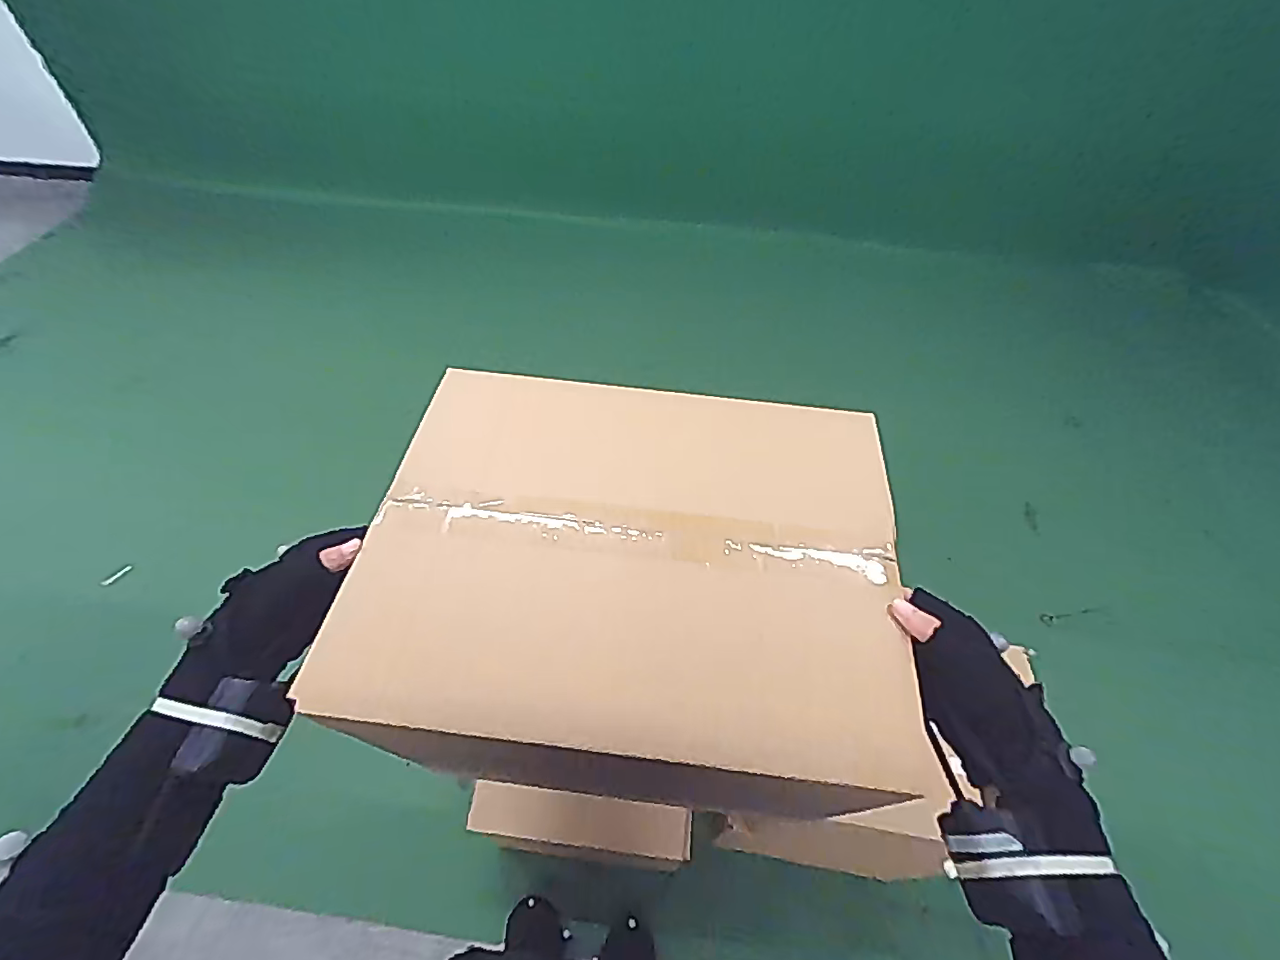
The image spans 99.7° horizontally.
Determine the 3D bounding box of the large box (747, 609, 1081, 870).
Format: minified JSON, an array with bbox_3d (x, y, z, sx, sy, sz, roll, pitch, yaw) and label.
[{"bbox_3d":[0.415,0.458,0.948,0.408,0.320,0.320,9,53,3],"label":"large box"}]
